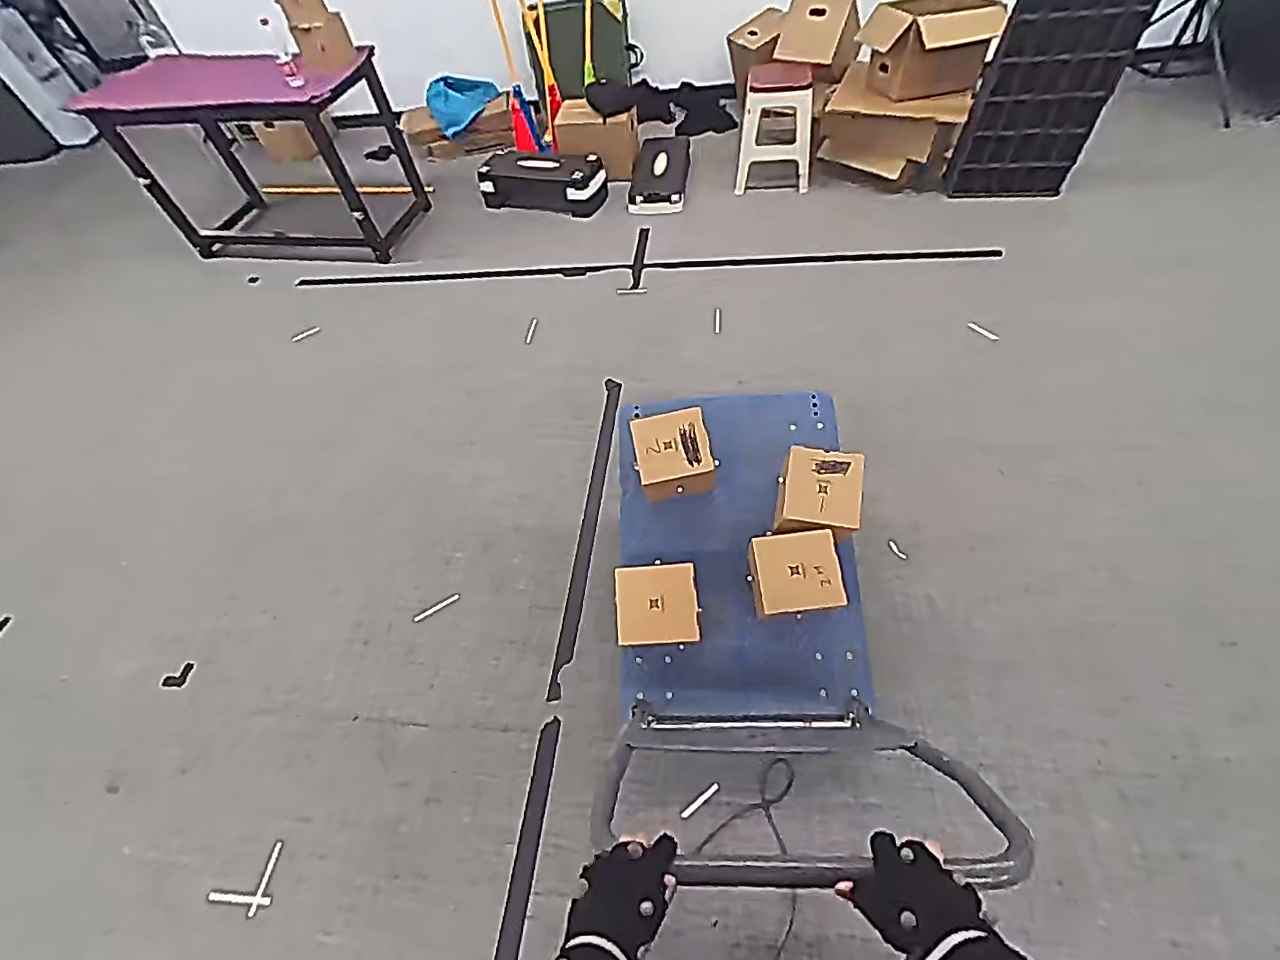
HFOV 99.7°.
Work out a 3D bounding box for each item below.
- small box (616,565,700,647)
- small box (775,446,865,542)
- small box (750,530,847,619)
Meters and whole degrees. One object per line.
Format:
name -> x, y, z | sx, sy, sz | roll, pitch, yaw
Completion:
small box -> 0.044, 0.294, 1.244 | 0.179, 0.176, 0.168 | -5, 72, 3
small box -> 0.420, 0.039, 1.281 | 0.168, 0.176, 0.179 | 8, 75, 9
small box -> 0.349, 0.221, 1.231 | 0.179, 0.176, 0.168 | -8, 72, 4
